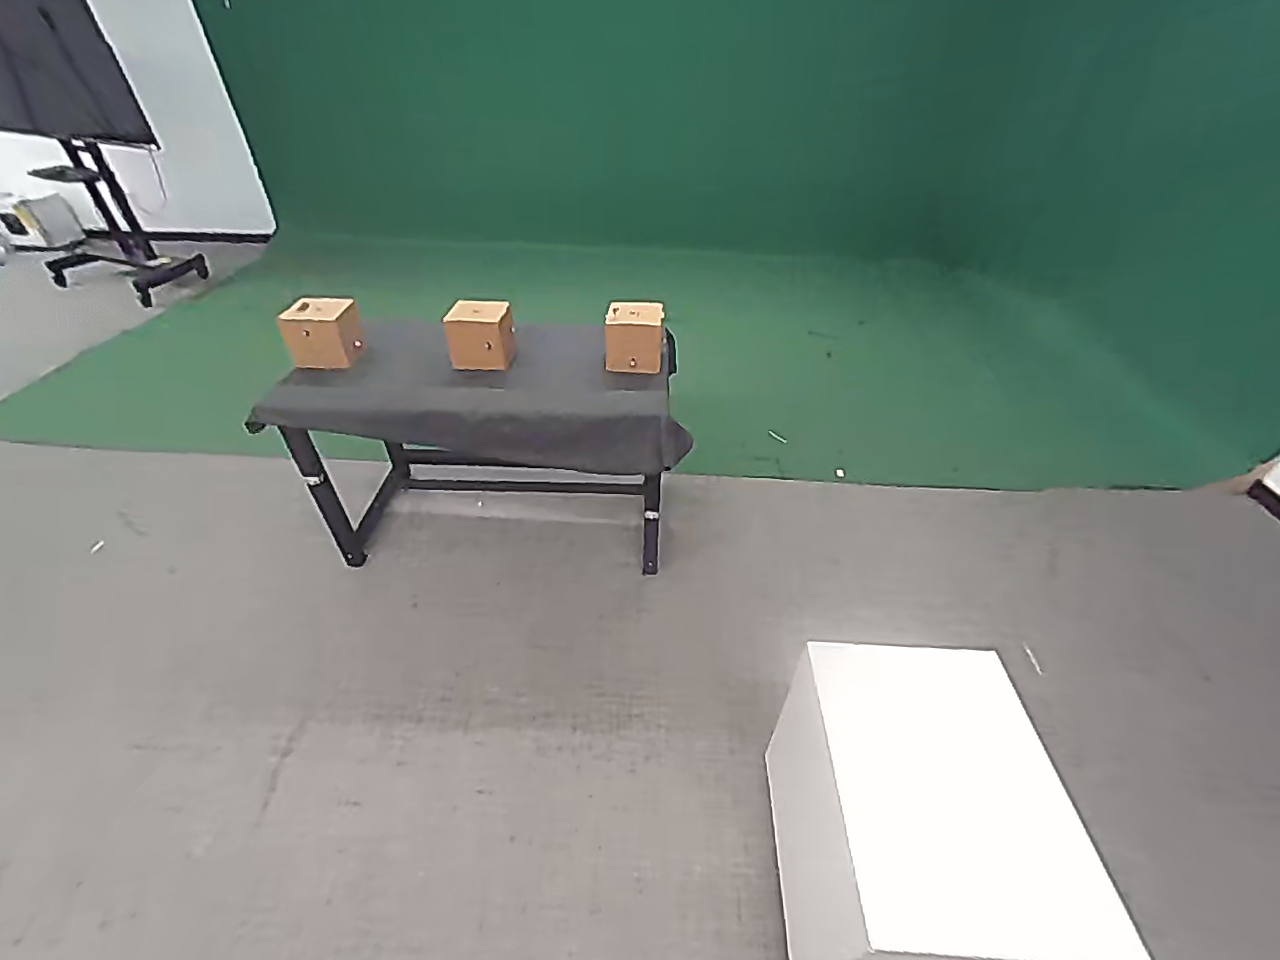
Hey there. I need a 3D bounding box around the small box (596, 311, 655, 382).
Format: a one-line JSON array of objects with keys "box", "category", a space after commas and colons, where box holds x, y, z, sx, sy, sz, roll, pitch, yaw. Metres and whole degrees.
[{"box": [-0.048, -0.434, 1.766, 0.179, 0.176, 0.168, 4, 39, 1], "category": "small box"}]

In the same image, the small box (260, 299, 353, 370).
[{"box": [-1.049, -0.460, 1.716, 0.179, 0.176, 0.168, 2, 39, -4], "category": "small box"}]

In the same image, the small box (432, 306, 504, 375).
[{"box": [-0.547, -0.449, 1.749, 0.179, 0.176, 0.168, 2, 37, -1], "category": "small box"}]
